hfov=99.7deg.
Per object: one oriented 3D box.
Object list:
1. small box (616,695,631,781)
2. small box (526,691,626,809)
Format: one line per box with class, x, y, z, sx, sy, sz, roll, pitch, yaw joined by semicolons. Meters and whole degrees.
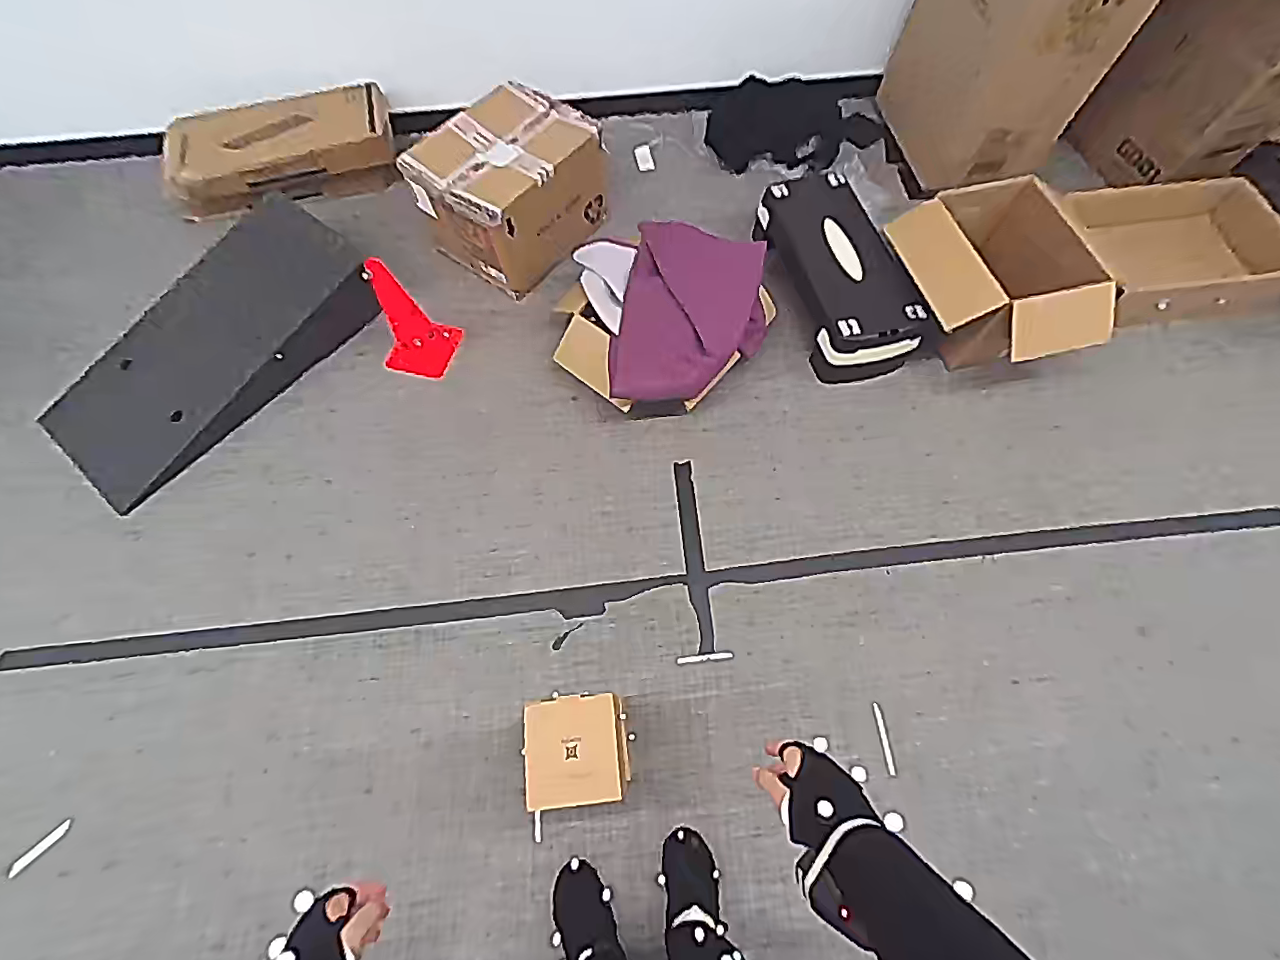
small box;-0.113;0.569;1.184;0.179;0.176;0.168;-7;66;-2
small box;-0.118;0.508;1.033;0.168;0.176;0.179;-7;67;0
